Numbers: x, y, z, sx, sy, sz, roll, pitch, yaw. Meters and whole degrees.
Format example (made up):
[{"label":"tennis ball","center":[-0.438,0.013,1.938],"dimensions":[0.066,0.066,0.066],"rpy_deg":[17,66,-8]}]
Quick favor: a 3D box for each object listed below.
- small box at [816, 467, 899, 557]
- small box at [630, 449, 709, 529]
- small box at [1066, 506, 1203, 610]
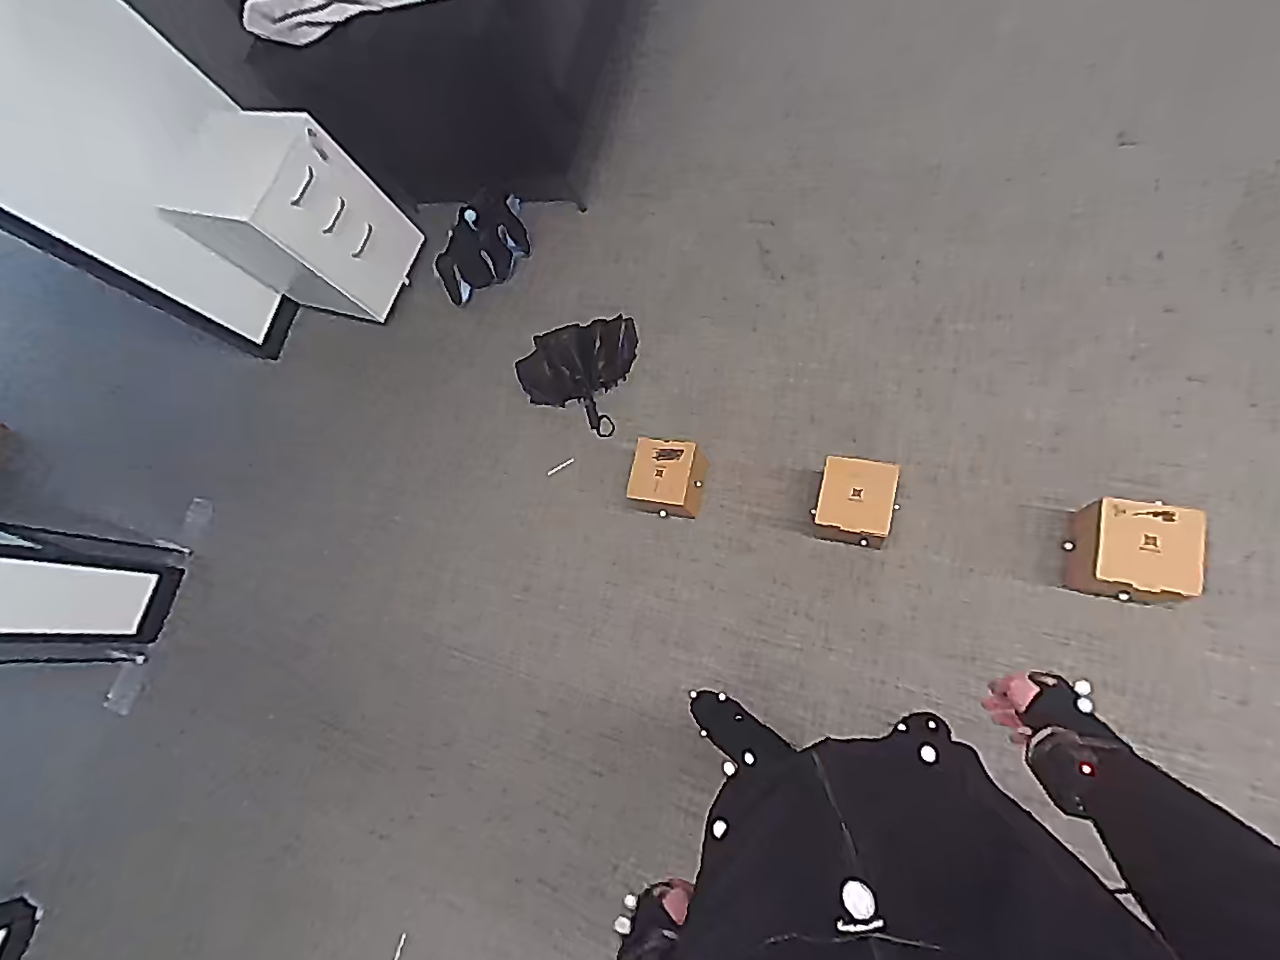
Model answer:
[{"label":"small box","center":[0.542,0.085,1.357],"dimensions":[0.168,0.176,0.179],"rpy_deg":[9,74,20]},{"label":"small box","center":[0.090,0.029,1.528],"dimensions":[0.168,0.176,0.179],"rpy_deg":[7,76,22]},{"label":"small box","center":[1.040,0.172,1.151],"dimensions":[0.168,0.176,0.179],"rpy_deg":[10,77,22]}]
